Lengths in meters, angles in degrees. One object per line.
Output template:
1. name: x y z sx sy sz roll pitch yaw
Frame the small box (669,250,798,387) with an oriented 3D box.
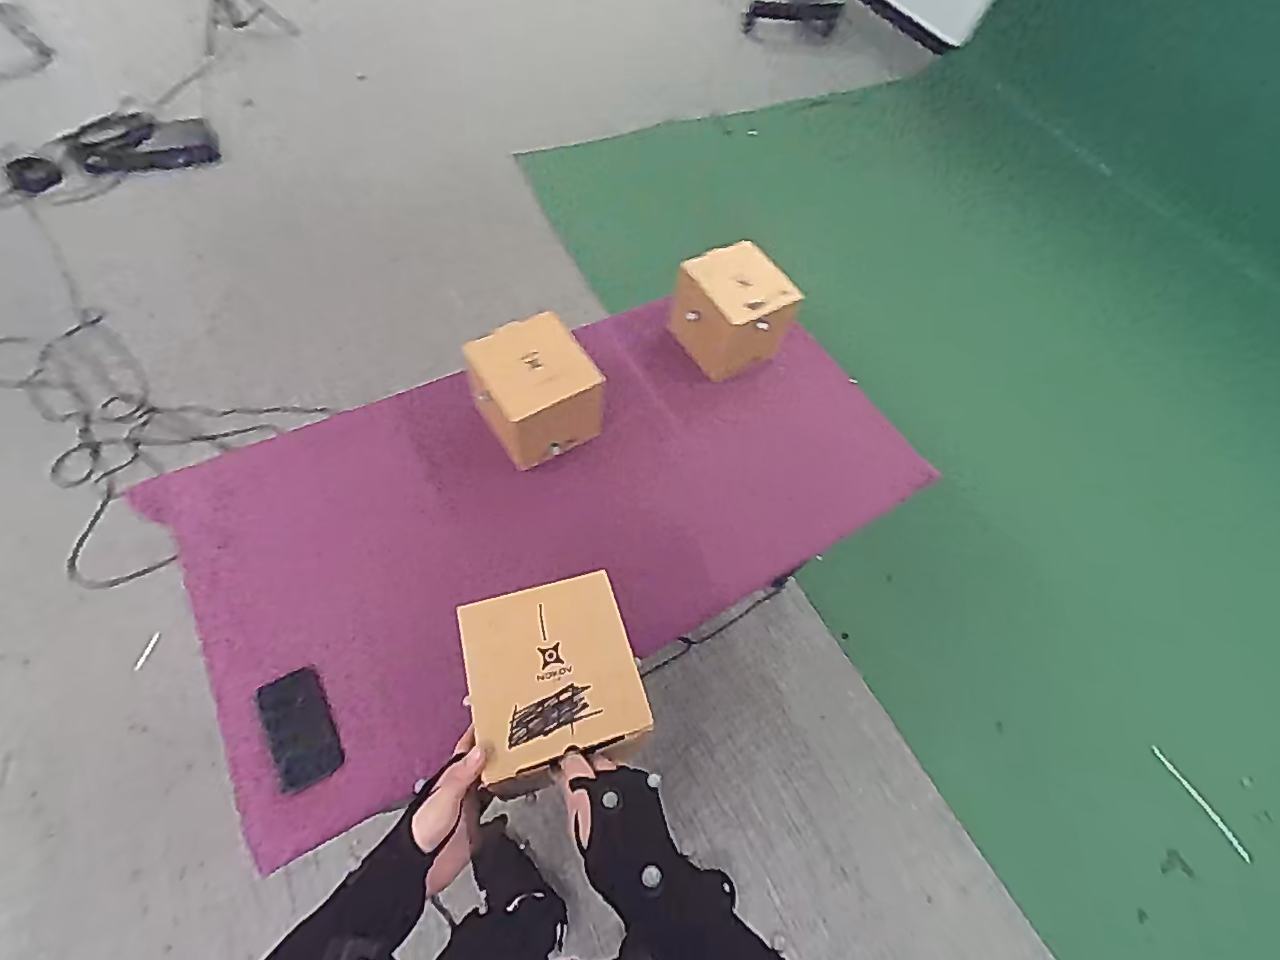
1. small box: 0.176 -0.322 1.087 0.168 0.176 0.179 -27 67 -19

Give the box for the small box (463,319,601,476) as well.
1. small box: -0.184 -0.139 0.940 0.168 0.176 0.179 -29 69 -20

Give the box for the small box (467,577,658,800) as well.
1. small box: -0.088 0.237 0.603 0.168 0.176 0.179 -11 55 -15
